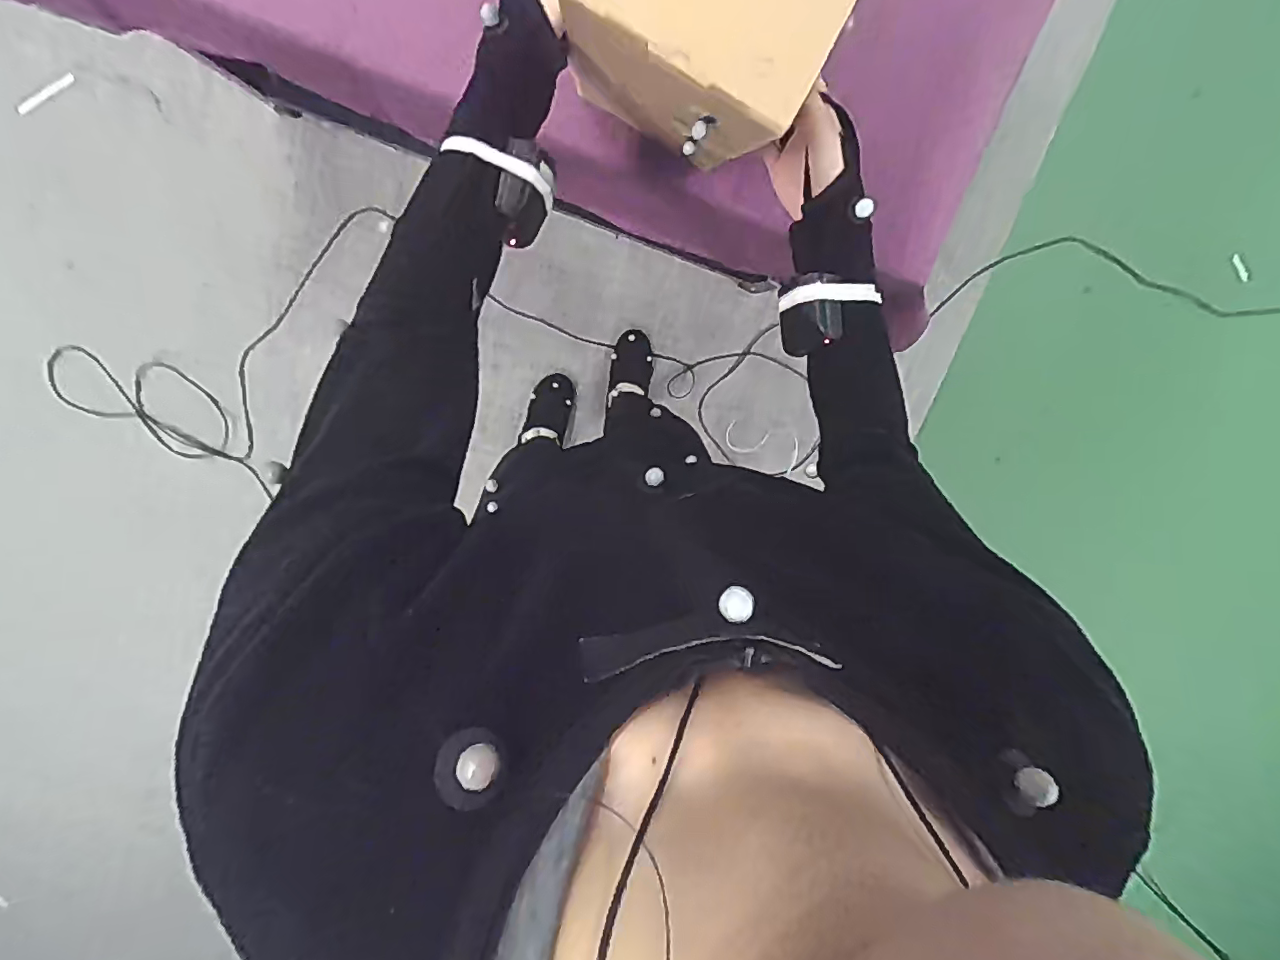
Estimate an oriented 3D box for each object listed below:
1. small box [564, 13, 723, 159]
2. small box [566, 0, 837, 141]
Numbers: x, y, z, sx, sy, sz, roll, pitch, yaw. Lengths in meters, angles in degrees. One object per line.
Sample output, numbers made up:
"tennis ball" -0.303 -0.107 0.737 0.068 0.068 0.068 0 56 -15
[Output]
"small box" 0.042 -0.444 0.528 0.179 0.176 0.168 24 110 -14
"small box" 0.055 -0.375 0.381 0.168 0.176 0.179 24 110 -14
